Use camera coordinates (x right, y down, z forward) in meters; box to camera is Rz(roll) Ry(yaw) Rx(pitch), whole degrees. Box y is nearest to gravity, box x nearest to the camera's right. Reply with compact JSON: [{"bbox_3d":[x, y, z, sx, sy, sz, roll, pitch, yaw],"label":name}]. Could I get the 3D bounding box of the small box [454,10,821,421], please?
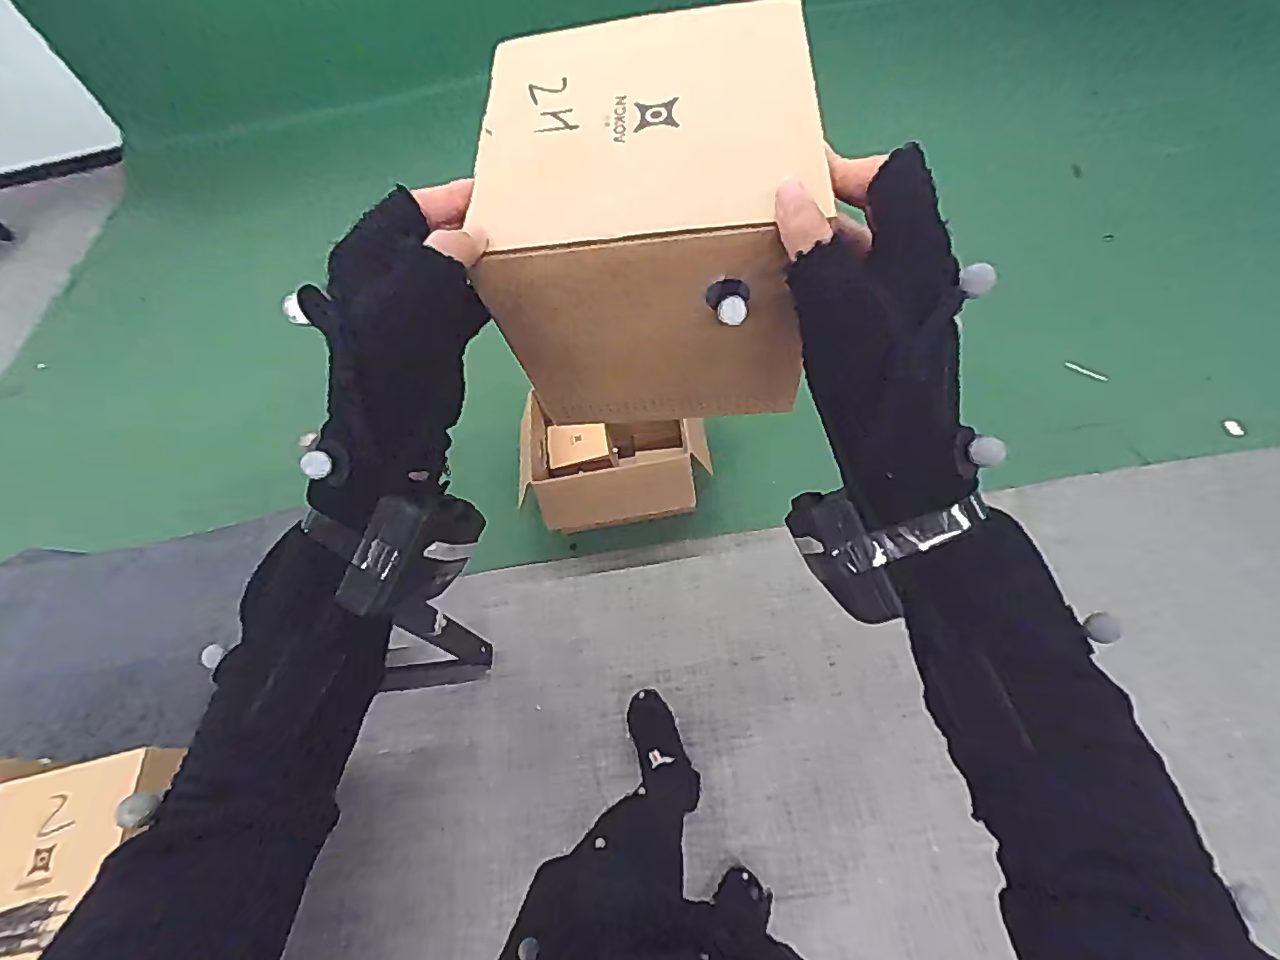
[{"bbox_3d":[0.008,-0.151,0.354,0.179,0.176,0.168,-3,66,9],"label":"small box"}]
